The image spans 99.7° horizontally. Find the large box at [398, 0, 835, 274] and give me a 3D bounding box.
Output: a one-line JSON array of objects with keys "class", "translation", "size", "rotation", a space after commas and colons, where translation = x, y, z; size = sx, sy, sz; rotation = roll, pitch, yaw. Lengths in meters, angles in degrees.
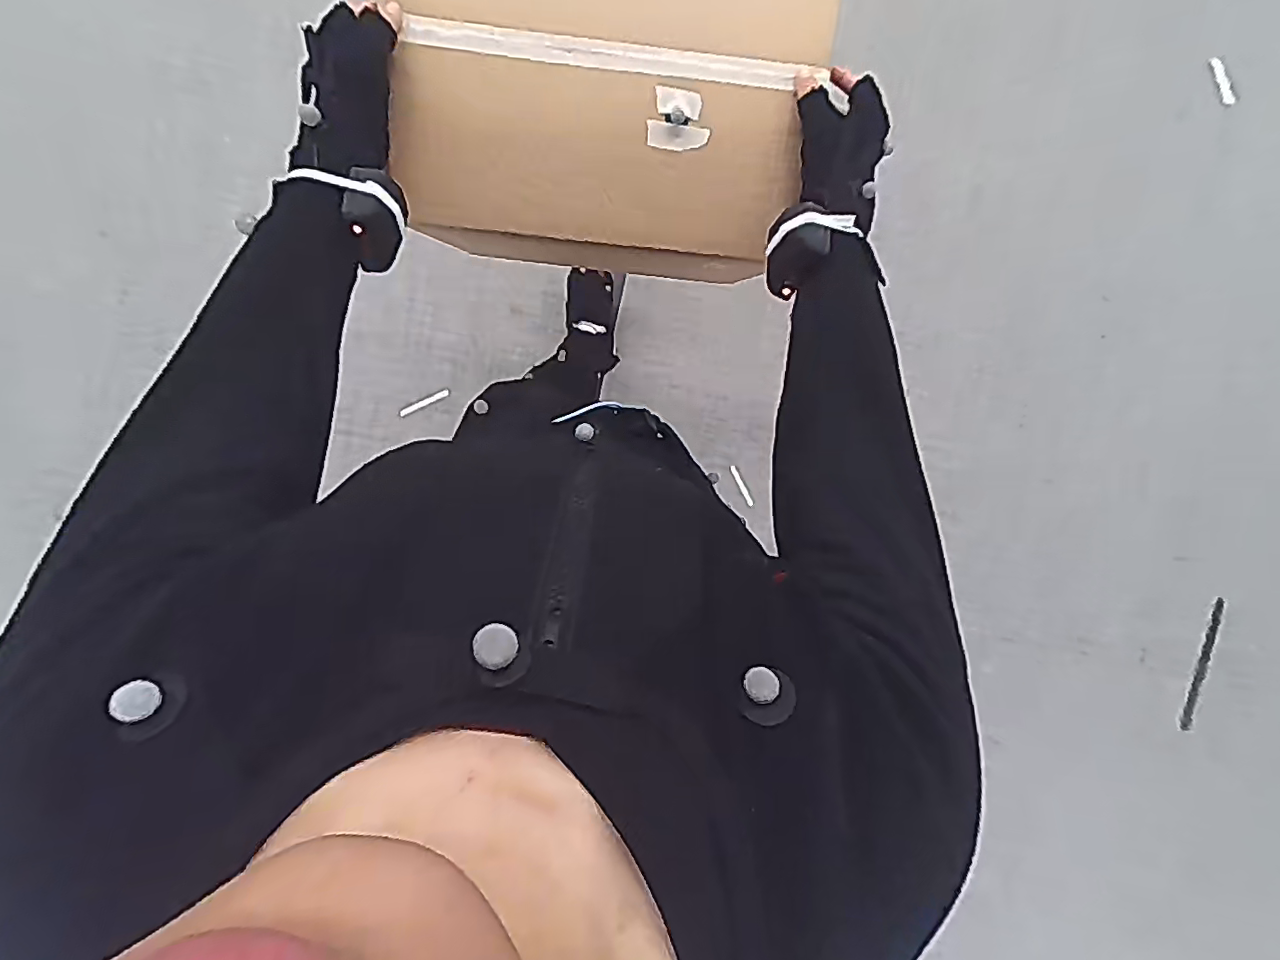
[{"class": "large box", "translation": [-0.032, -0.437, 0.646], "size": [0.408, 0.320, 0.320], "rotation": [4, 107, -4]}]
